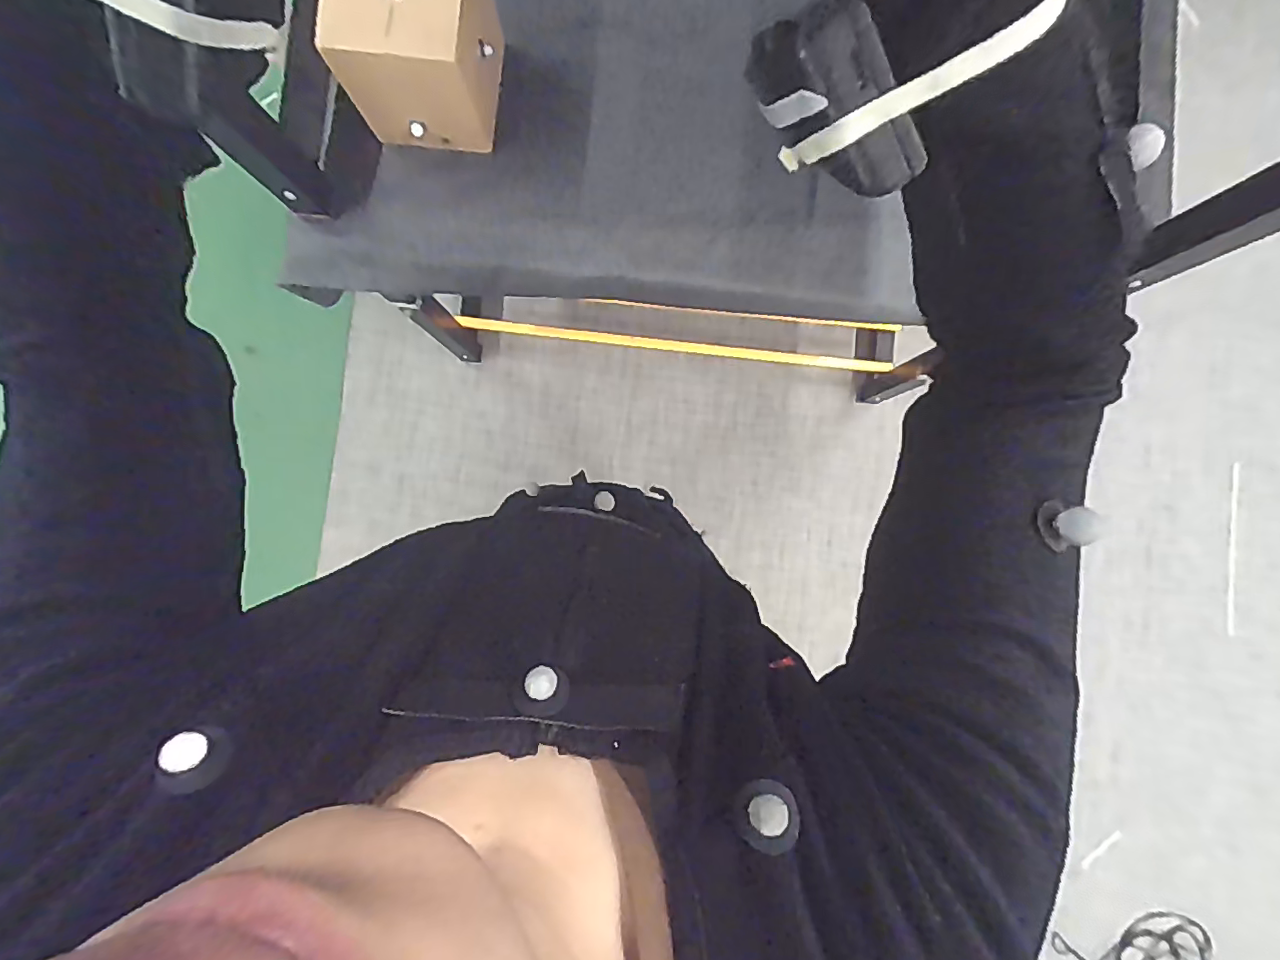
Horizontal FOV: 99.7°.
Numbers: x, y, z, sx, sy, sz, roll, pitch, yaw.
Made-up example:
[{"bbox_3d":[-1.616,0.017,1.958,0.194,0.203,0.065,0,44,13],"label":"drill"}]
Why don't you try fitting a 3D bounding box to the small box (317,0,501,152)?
[{"bbox_3d":[-0.288,-0.577,0.713,0.168,0.176,0.179,6,88,-1],"label":"small box"}]
